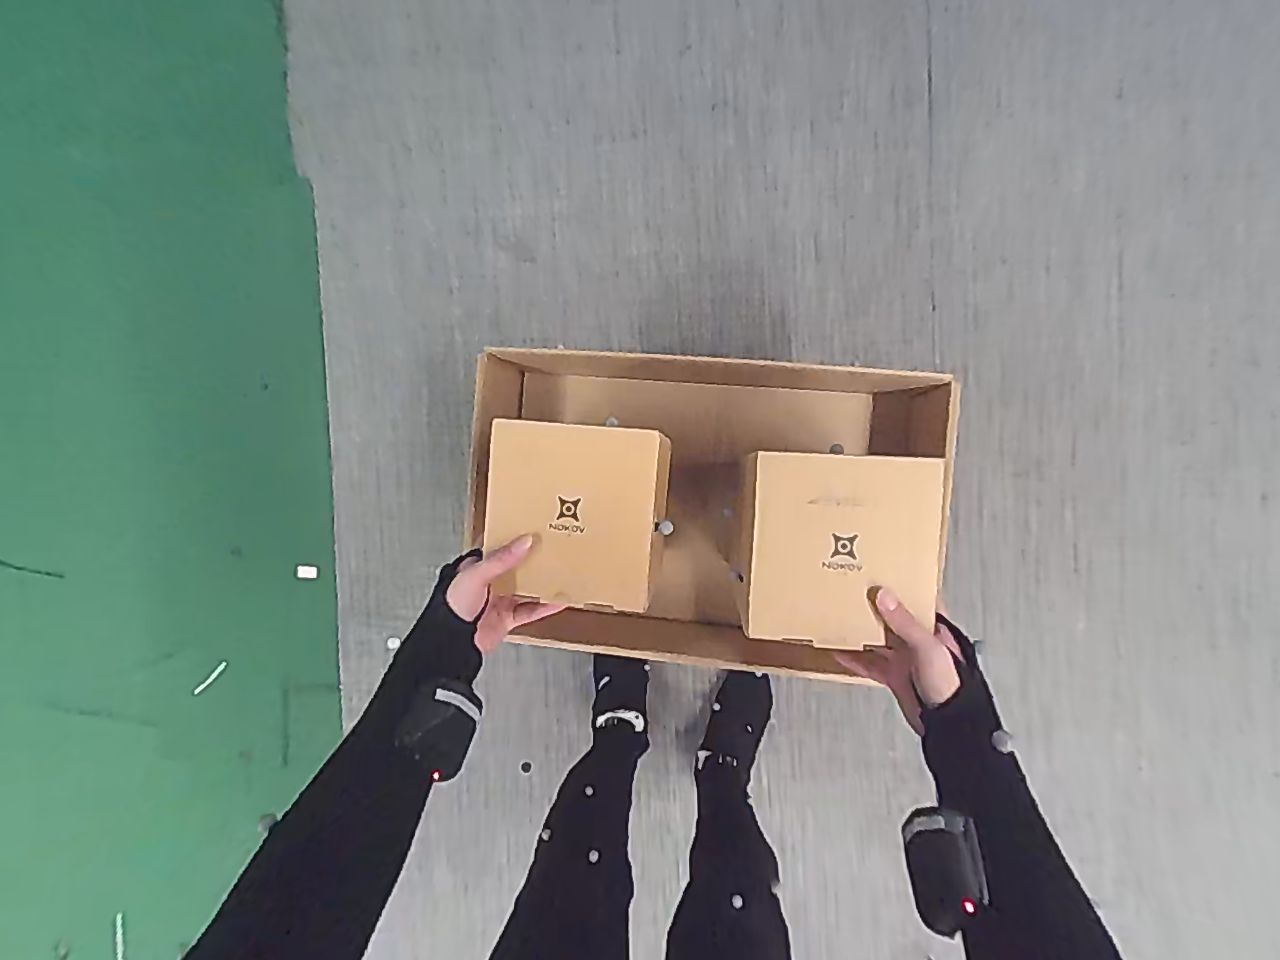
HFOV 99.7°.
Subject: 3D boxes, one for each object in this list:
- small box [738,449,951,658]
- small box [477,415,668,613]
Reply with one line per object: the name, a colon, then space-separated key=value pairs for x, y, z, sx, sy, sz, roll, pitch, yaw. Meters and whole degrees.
small box: x=0.192 y=0.062 z=0.556 sx=0.168 sy=0.176 sz=0.179 roll=4 pitch=90 yaw=6
small box: x=-0.060 y=0.030 z=0.589 sx=0.168 sy=0.176 sz=0.179 roll=5 pitch=92 yaw=6
